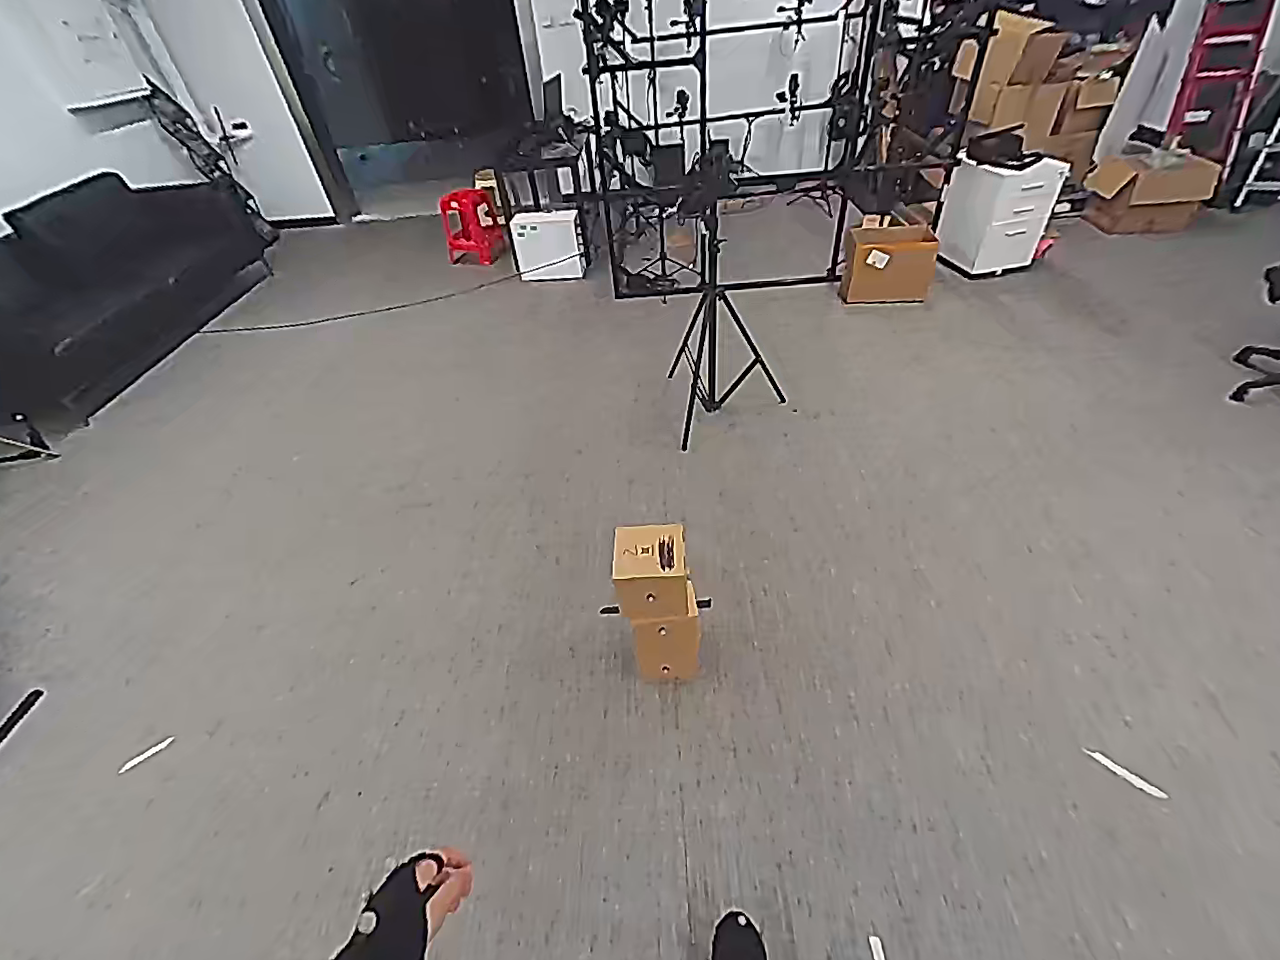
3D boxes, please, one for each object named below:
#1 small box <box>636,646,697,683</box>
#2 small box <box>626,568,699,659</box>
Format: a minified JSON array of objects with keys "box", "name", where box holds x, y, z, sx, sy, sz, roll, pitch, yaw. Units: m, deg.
[{"box":[0.082,0.479,1.589,0.168,0.176,0.179,-2,41,5],"name":"small box"},{"box":[0.062,0.366,1.475,0.179,0.176,0.168,-9,42,-1],"name":"small box"}]
